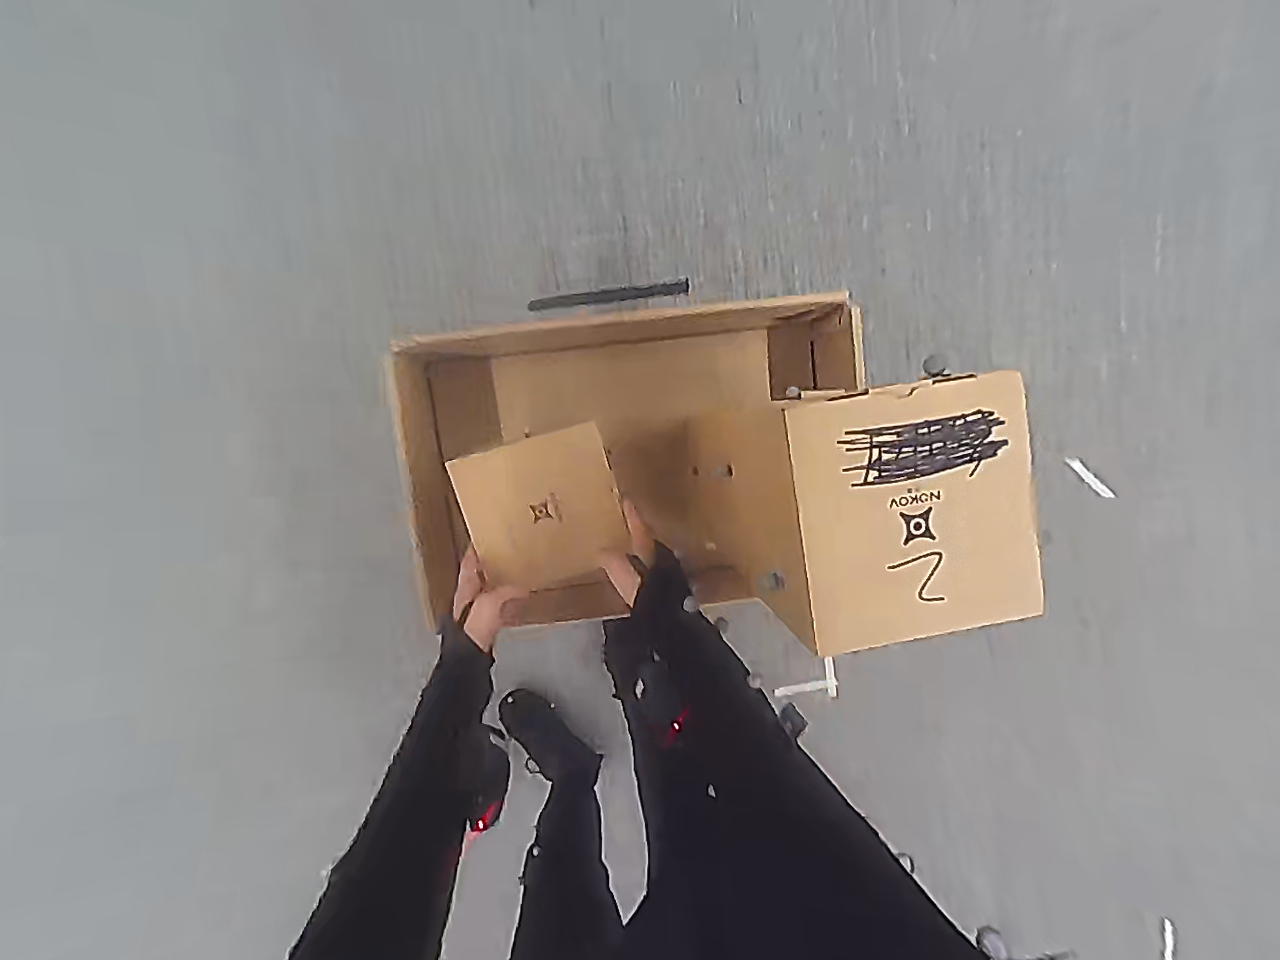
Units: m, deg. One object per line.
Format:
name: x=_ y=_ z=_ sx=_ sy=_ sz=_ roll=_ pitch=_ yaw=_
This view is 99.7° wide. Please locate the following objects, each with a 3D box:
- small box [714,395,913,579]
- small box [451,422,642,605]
small box: x=0.181 y=0.002 z=0.609 sx=0.168 sy=0.176 sz=0.179 roll=-3 pitch=94 yaw=-3
small box: x=-0.111 y=0.029 z=0.677 sx=0.179 sy=0.176 sz=0.168 roll=-17 pitch=100 yaw=-4
